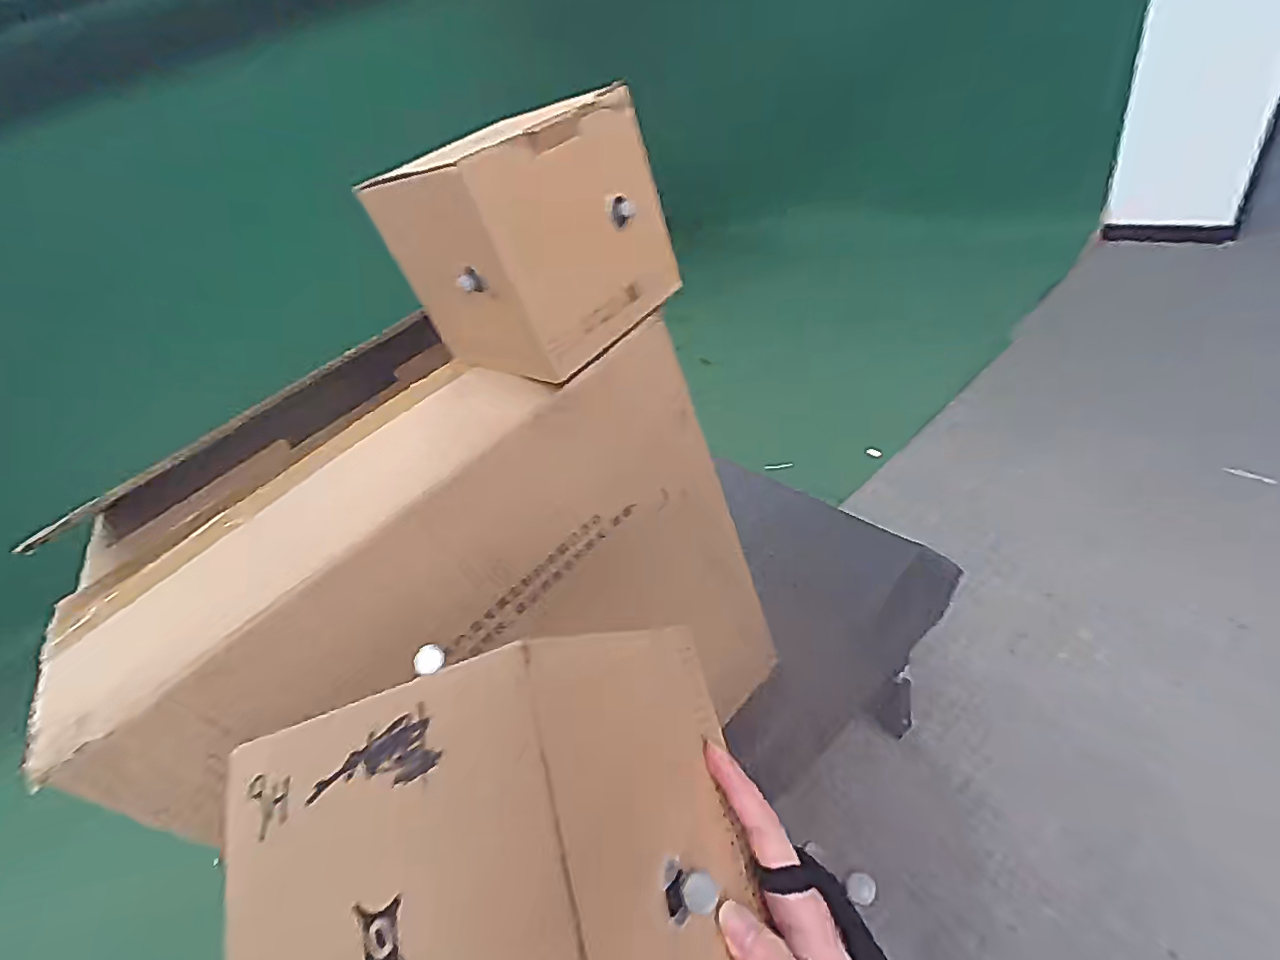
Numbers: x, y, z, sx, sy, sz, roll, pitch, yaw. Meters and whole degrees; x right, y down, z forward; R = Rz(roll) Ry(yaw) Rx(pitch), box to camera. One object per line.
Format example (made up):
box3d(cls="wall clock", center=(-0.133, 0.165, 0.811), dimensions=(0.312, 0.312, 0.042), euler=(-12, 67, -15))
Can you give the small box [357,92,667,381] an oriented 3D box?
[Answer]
box3d(cls="small box", center=(-0.100, -0.205, 0.478), dimensions=(0.179, 0.176, 0.168), euler=(19, 53, 41))
